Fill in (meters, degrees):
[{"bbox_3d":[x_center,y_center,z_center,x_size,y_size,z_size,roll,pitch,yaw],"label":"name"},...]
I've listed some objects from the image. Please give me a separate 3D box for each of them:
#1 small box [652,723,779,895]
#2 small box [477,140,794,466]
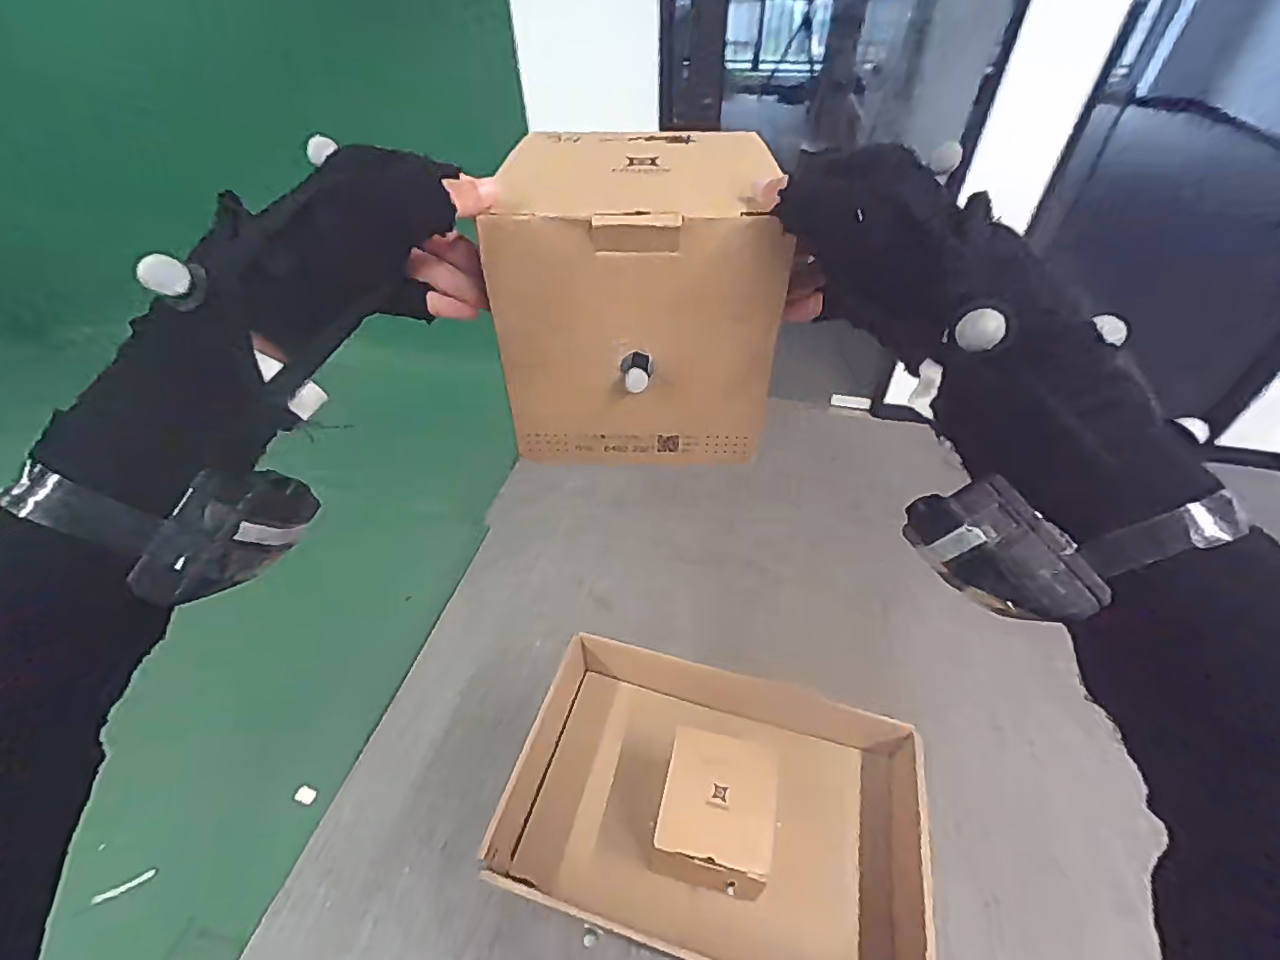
[{"bbox_3d":[0.118,0.525,0.861,0.168,0.176,0.179,11,44,10],"label":"small box"},{"bbox_3d":[0.000,-0.125,0.386,0.168,0.176,0.179,1,44,1],"label":"small box"}]
